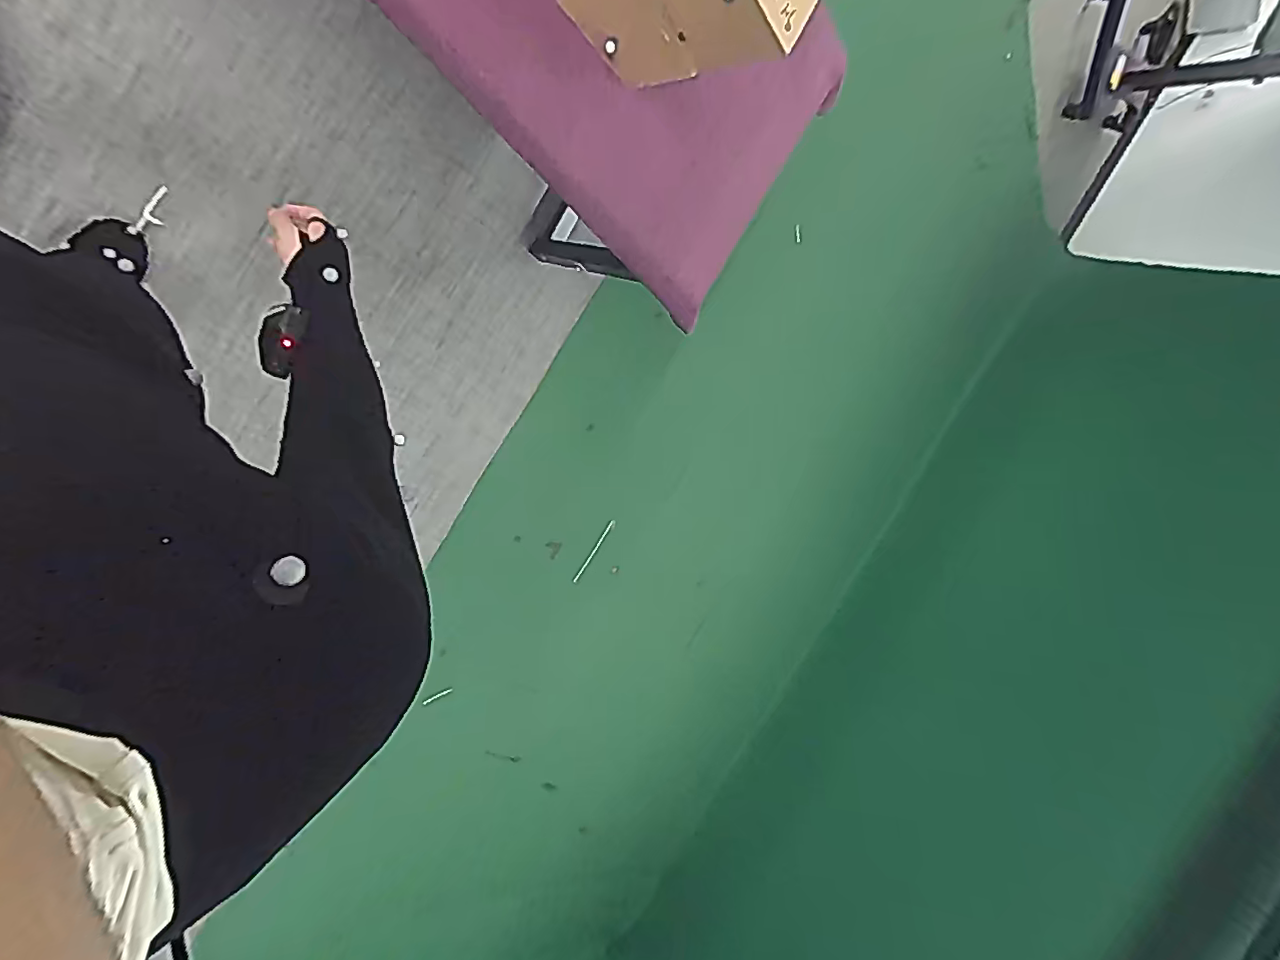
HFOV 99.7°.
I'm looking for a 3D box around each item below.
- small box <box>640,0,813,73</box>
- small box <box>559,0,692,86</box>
[{"bbox_3d":[0.114,-0.649,0.659,0.168,0.176,0.179,24,95,-45],"label":"small box"},{"bbox_3d":[0.012,-0.711,0.772,0.168,0.176,0.179,25,95,-46],"label":"small box"}]
